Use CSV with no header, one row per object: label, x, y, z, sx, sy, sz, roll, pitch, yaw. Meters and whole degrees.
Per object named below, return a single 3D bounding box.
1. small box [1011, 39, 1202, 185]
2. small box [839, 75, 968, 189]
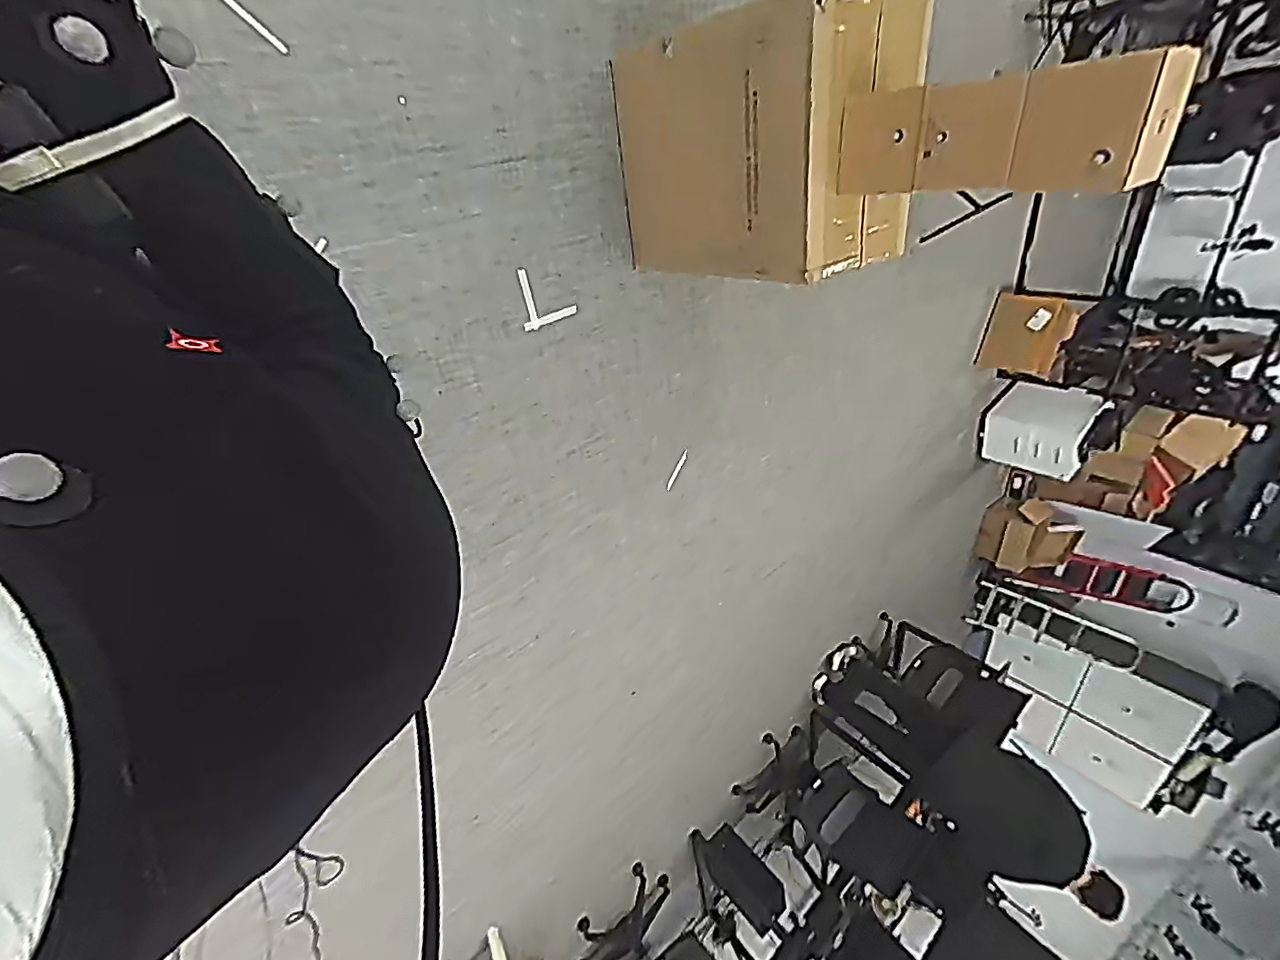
small box,0.732,-0.579,0.868,0.168,0.176,0.179,-26,126,-29
small box,0.526,-0.698,1.096,0.168,0.176,0.179,-26,126,-30
